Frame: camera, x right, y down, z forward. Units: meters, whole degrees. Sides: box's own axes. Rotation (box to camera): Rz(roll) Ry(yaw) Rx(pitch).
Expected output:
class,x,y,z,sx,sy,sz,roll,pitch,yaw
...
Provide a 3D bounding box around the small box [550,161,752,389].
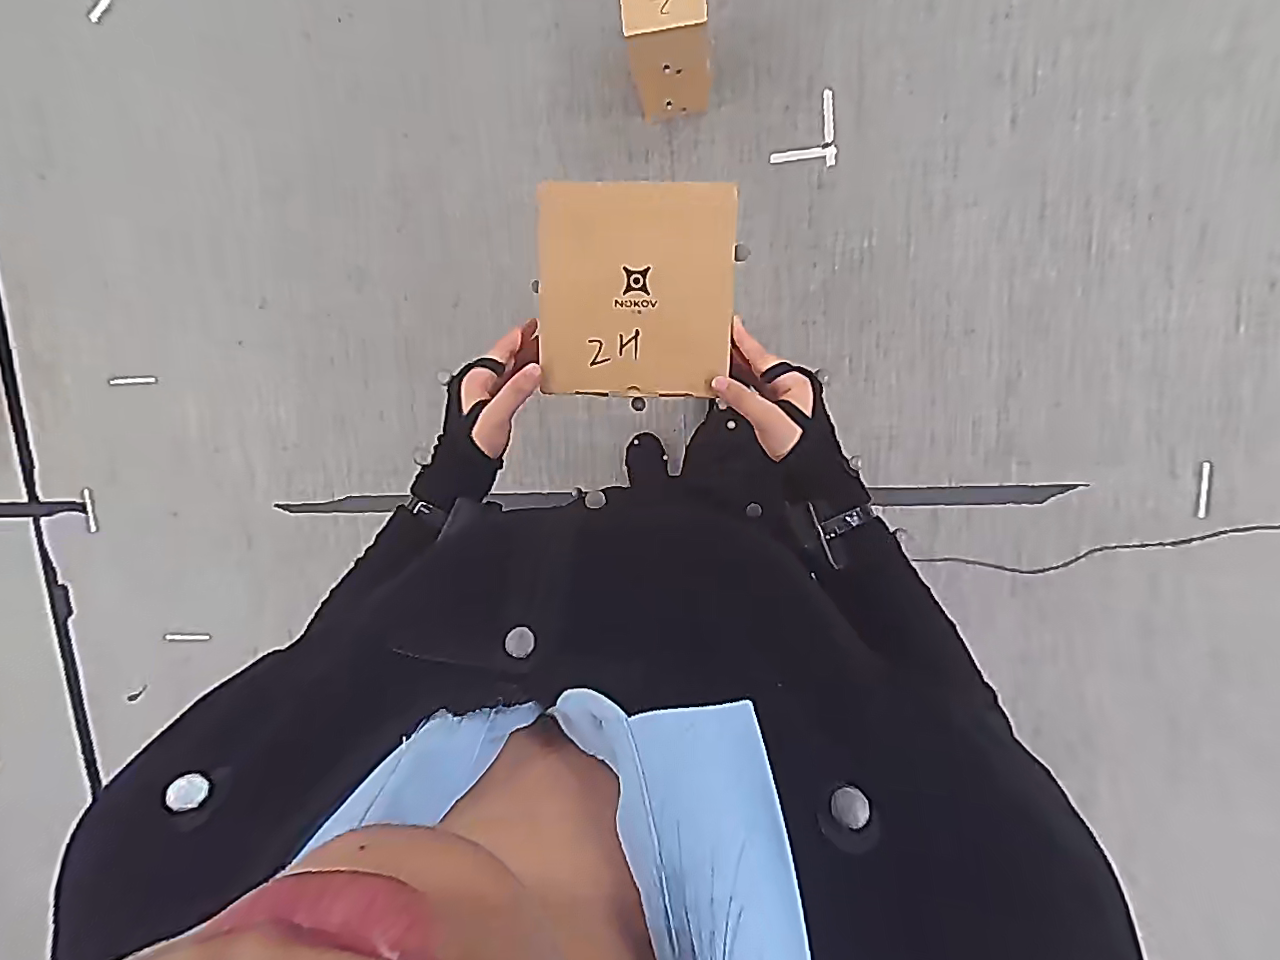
class,x,y,z,sx,sy,sz,roll,pitch,yaw
small box,0.009,-0.181,0.526,0.168,0.176,0.179,2,99,3

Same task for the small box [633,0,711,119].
class,x,y,z,sx,sy,sz,roll,pitch,yaw
small box,0.076,-0.988,1.265,0.168,0.176,0.179,-4,97,6
